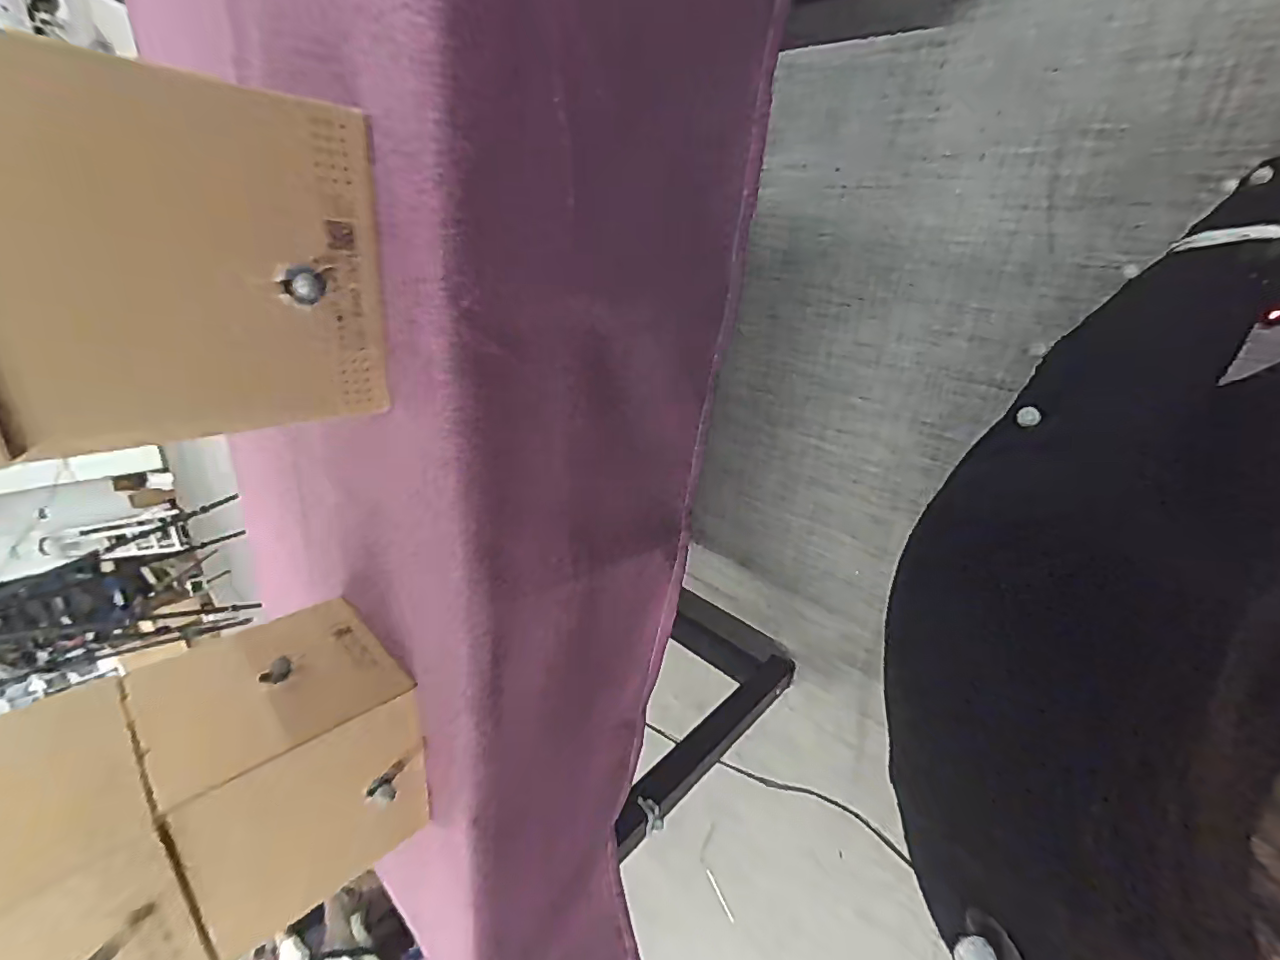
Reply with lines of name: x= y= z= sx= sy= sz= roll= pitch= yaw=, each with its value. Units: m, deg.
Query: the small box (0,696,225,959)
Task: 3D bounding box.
small box: x=-0.408 y=0.276 z=0.359 sx=0.179 sy=0.176 sz=0.168 roll=25 pitch=120 yaw=36

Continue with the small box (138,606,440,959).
small box: x=-0.293 y=0.239 z=0.473 sx=0.168 sy=0.176 sz=0.179 roll=23 pitch=118 yaw=37
